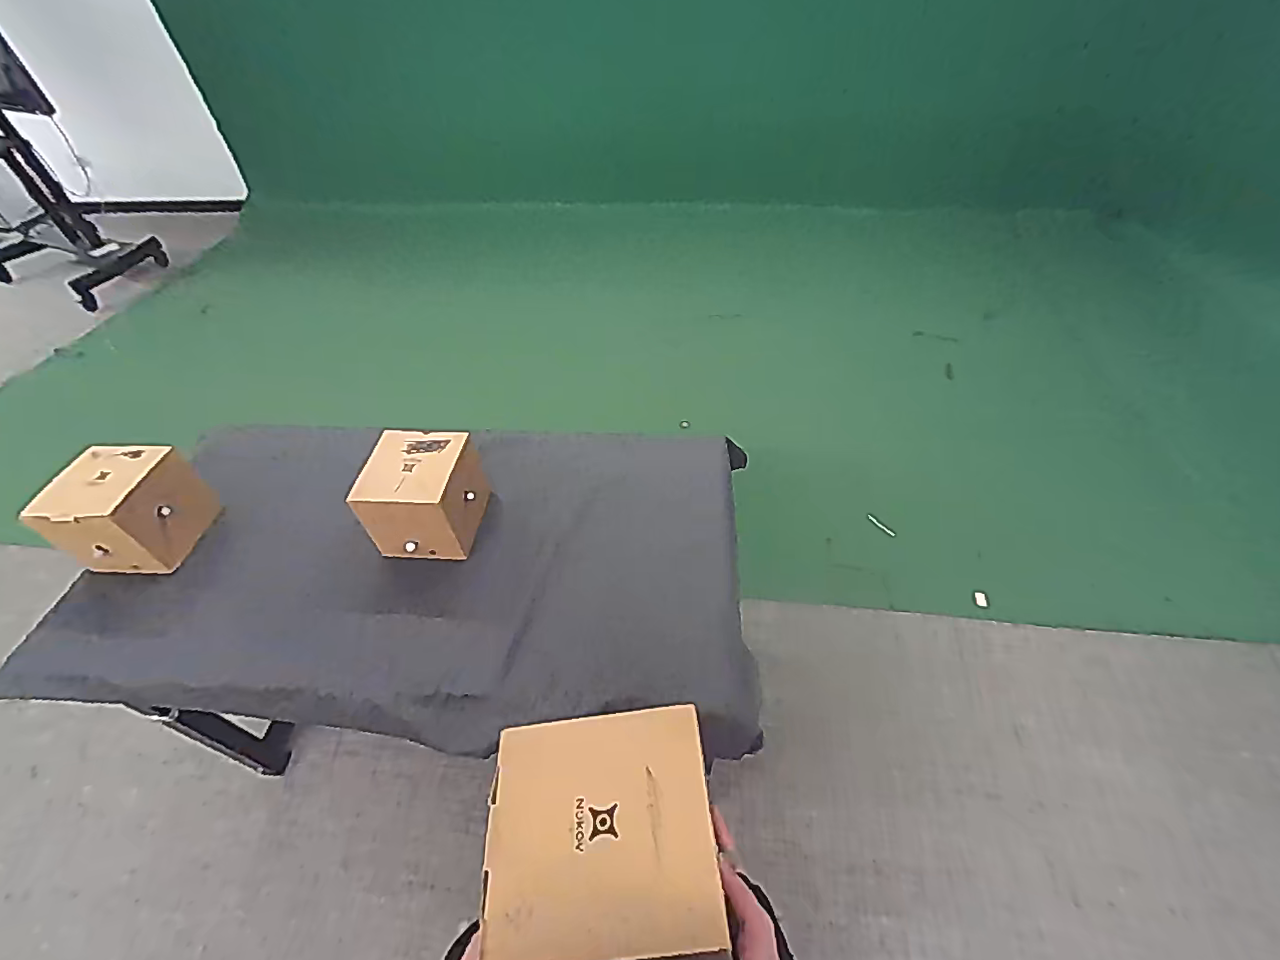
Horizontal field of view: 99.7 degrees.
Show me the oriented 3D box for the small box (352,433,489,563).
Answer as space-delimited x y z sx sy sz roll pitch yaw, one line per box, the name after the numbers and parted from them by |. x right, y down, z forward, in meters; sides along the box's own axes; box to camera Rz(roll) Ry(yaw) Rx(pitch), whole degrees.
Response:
-0.396 0.034 1.017 0.168 0.176 0.179 3 49 5 | small box

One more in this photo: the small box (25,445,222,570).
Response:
-0.948 0.054 1.018 0.168 0.176 0.179 1 48 3 | small box

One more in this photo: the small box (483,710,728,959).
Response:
-0.021 0.330 0.483 0.179 0.176 0.168 -8 45 1 | small box
